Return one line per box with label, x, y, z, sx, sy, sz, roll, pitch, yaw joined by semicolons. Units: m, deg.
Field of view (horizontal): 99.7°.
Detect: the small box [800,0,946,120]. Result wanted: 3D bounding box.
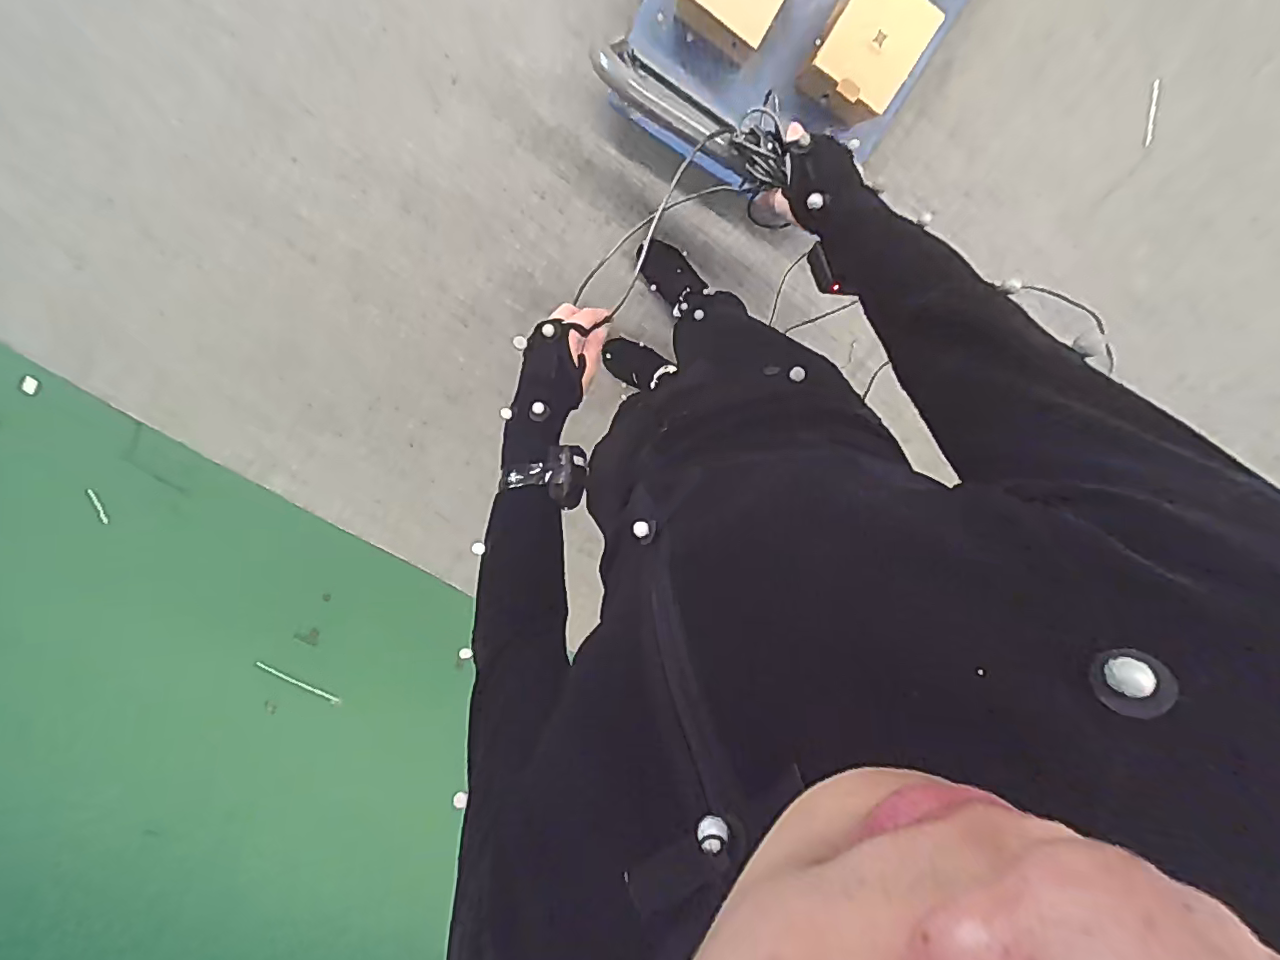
small box;0.437;-0.839;1.050;0.168;0.176;0.179;27;117;-13
